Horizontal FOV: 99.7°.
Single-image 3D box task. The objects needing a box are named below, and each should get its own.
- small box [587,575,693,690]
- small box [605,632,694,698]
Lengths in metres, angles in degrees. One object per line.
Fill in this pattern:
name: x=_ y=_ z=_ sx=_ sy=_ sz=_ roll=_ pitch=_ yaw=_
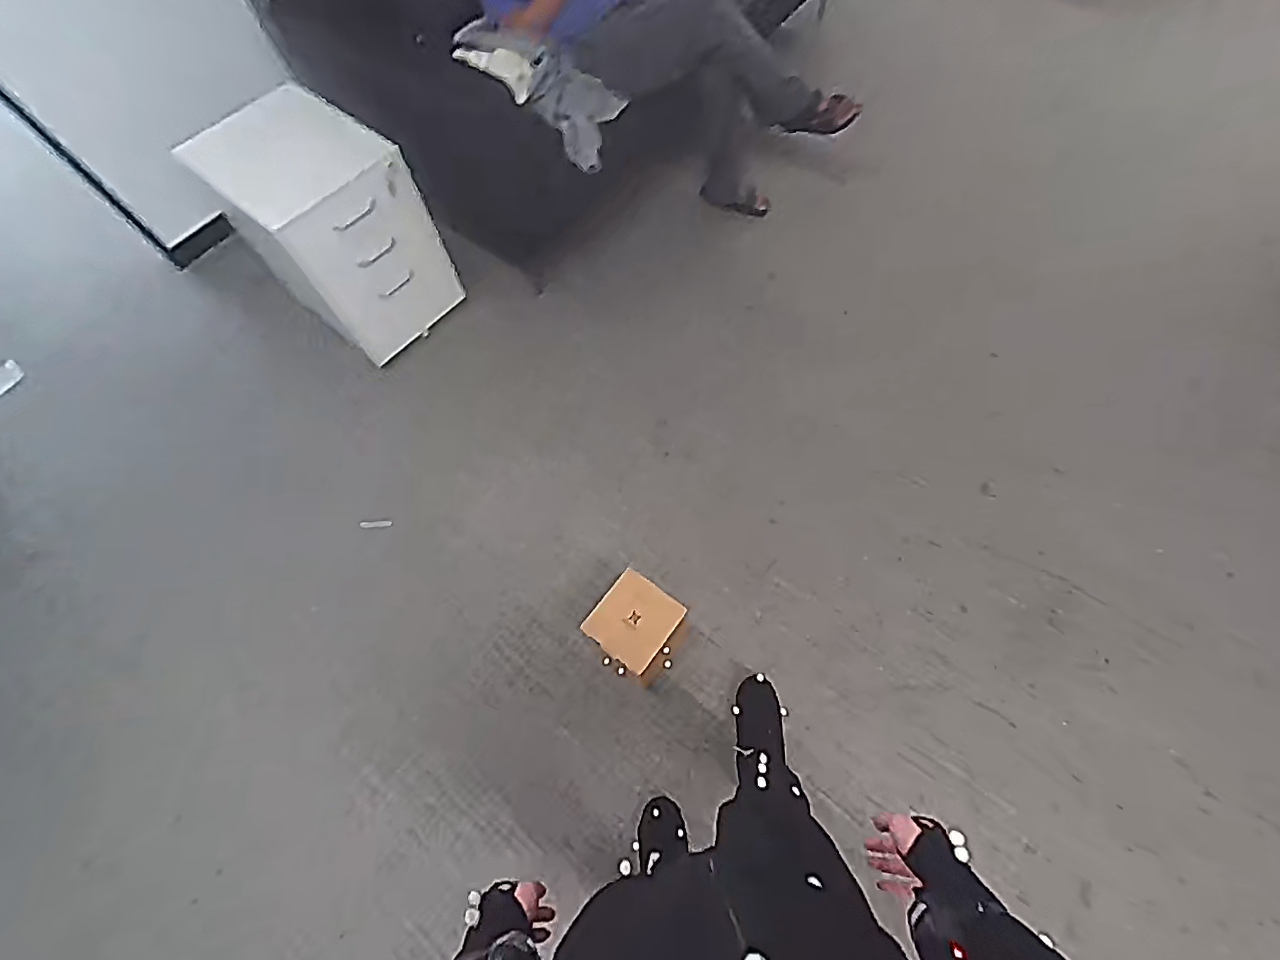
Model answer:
small box: x=0.006 y=0.353 z=1.229 sx=0.168 sy=0.176 sz=0.179 roll=33 pitch=69 yaw=18
small box: x=0.018 y=0.427 z=1.373 sx=0.168 sy=0.176 sz=0.179 roll=35 pitch=70 yaw=20
